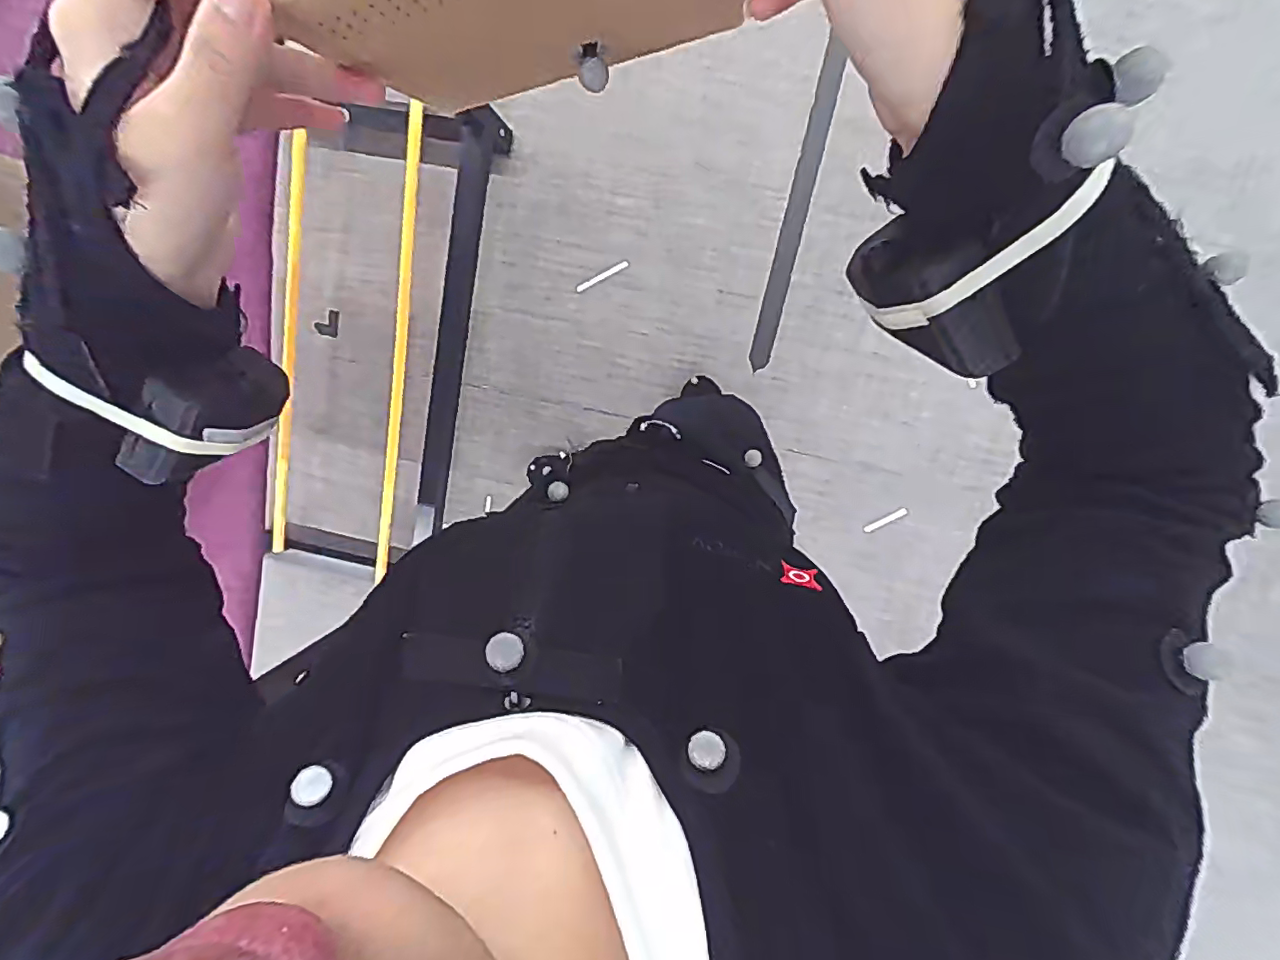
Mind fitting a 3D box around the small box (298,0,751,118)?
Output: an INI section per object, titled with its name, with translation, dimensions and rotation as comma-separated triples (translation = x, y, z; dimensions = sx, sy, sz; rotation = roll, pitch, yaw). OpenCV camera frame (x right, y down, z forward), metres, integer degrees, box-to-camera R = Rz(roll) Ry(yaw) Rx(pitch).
[small box]
translation = -0.052, -0.267, 0.202
dimensions = 0.179, 0.176, 0.168
rotation = -9, 113, 10
